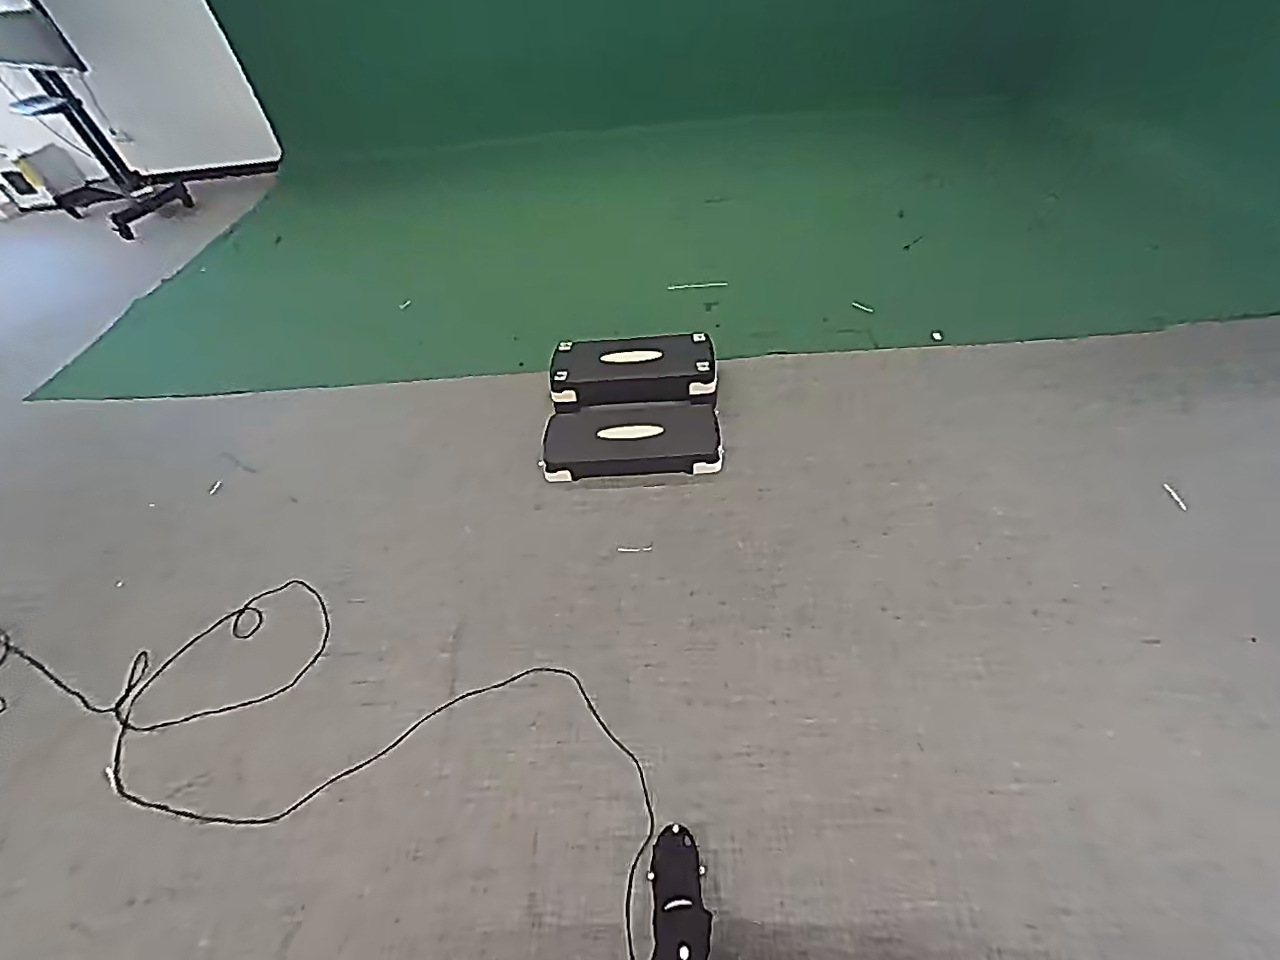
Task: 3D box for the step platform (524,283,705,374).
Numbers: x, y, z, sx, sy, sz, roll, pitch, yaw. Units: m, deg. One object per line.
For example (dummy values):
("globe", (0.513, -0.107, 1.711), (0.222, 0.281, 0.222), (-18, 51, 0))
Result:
("step platform", (-0.090, -0.589, 2.110), (0.684, 0.204, 0.286), (-4, 49, 4))
